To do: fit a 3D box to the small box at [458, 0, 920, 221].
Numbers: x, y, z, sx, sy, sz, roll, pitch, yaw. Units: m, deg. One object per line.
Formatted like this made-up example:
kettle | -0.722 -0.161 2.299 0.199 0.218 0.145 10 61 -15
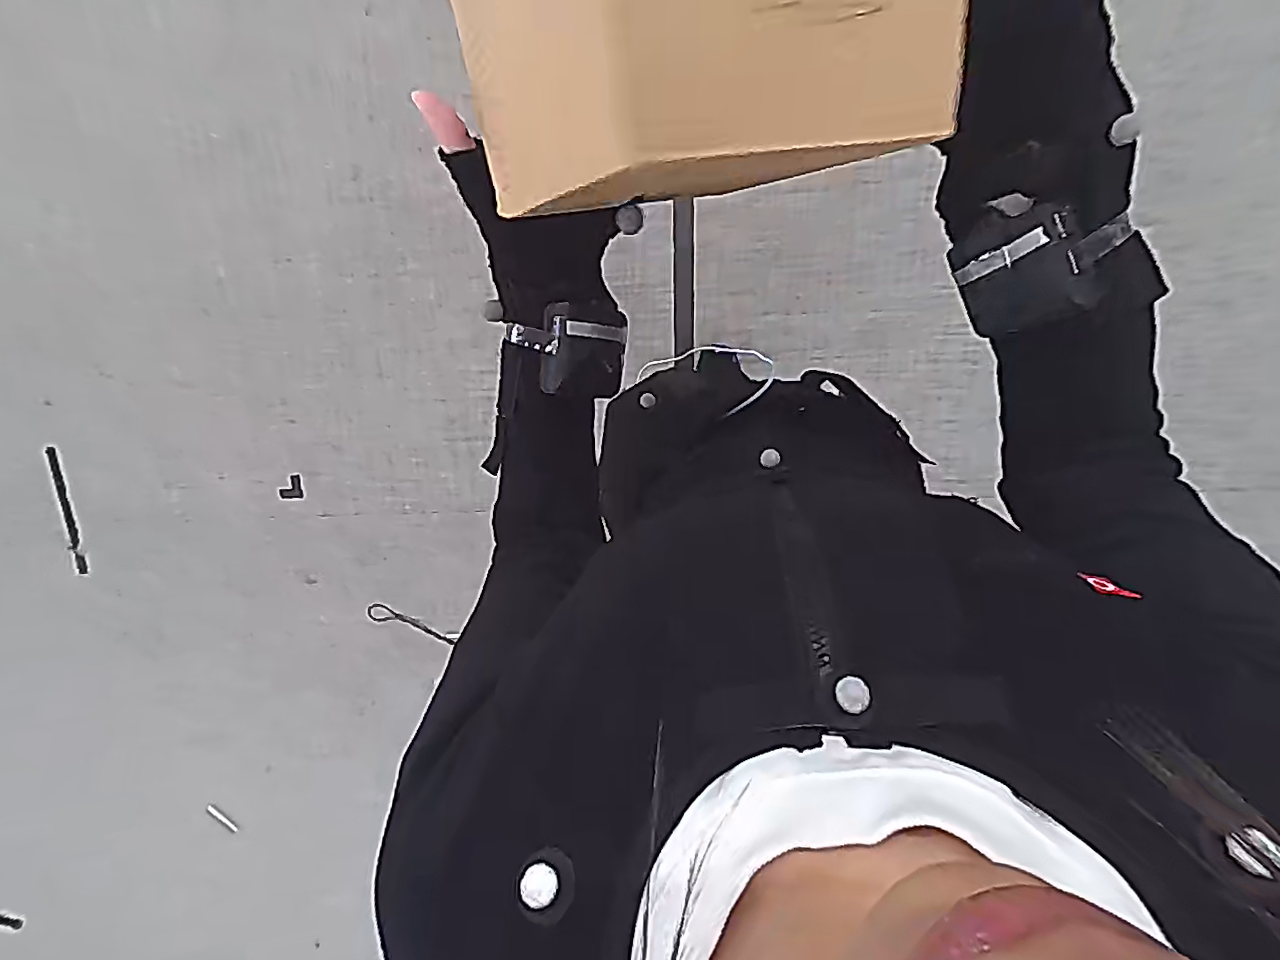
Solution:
small box | 0.008 -0.237 0.261 0.168 0.176 0.179 -17 115 -20
